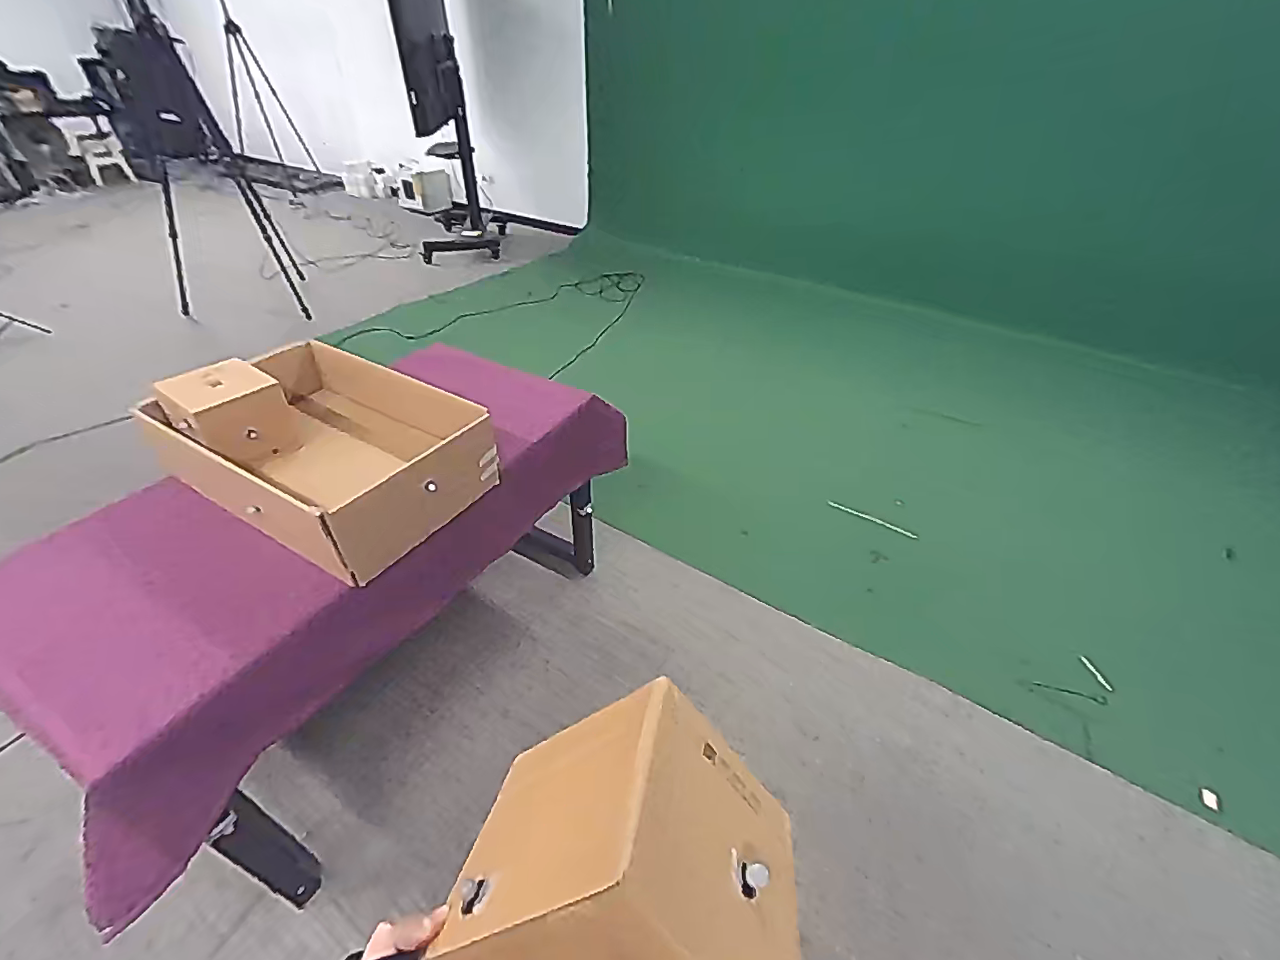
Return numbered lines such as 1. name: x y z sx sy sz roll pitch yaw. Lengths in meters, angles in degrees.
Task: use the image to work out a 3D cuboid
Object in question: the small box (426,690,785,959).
1. small box: -0.010 0.294 0.400 0.179 0.168 0.176 -37 8 21
